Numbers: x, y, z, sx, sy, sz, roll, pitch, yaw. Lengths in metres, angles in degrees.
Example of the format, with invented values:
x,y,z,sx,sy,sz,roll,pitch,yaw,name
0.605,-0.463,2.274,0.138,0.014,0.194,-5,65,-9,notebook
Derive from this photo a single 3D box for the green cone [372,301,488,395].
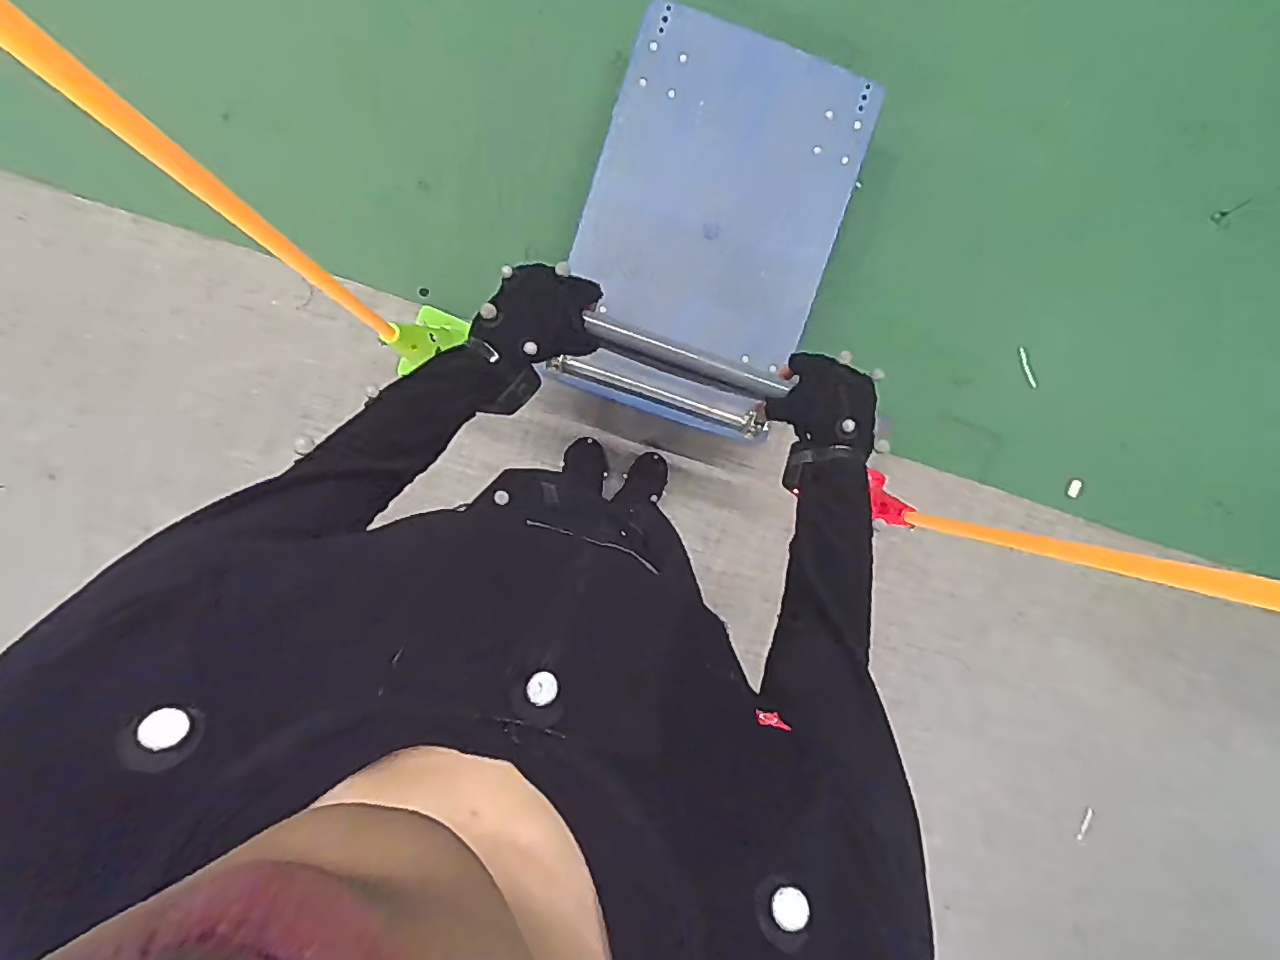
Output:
x,y,z,sx,sy,sz,roll,pitch,yaw,name
-0.510,-0.328,1.243,0.202,0.368,0.200,22,94,-4,green cone
